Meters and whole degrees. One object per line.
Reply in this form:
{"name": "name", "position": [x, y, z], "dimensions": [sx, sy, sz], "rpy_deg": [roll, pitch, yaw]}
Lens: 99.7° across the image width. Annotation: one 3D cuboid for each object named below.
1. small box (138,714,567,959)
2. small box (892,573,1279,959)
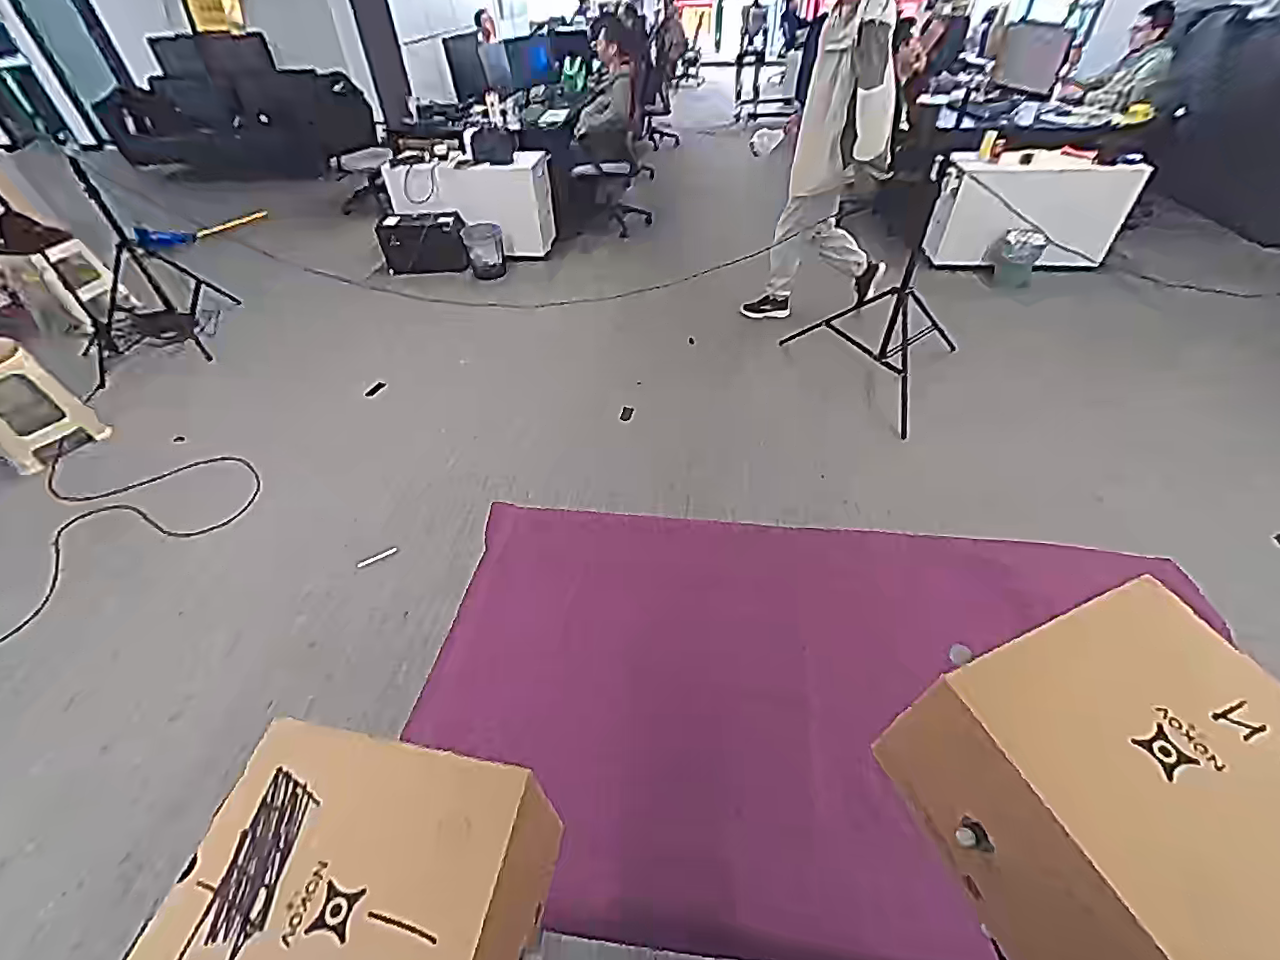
{"name": "small box", "position": [-0.158, 0.275, 0.346], "dimensions": [0.179, 0.176, 0.168], "rpy_deg": [8, 48, 8]}
{"name": "small box", "position": [0.299, 0.198, 0.363], "dimensions": [0.179, 0.176, 0.168], "rpy_deg": [-19, 52, -13]}
